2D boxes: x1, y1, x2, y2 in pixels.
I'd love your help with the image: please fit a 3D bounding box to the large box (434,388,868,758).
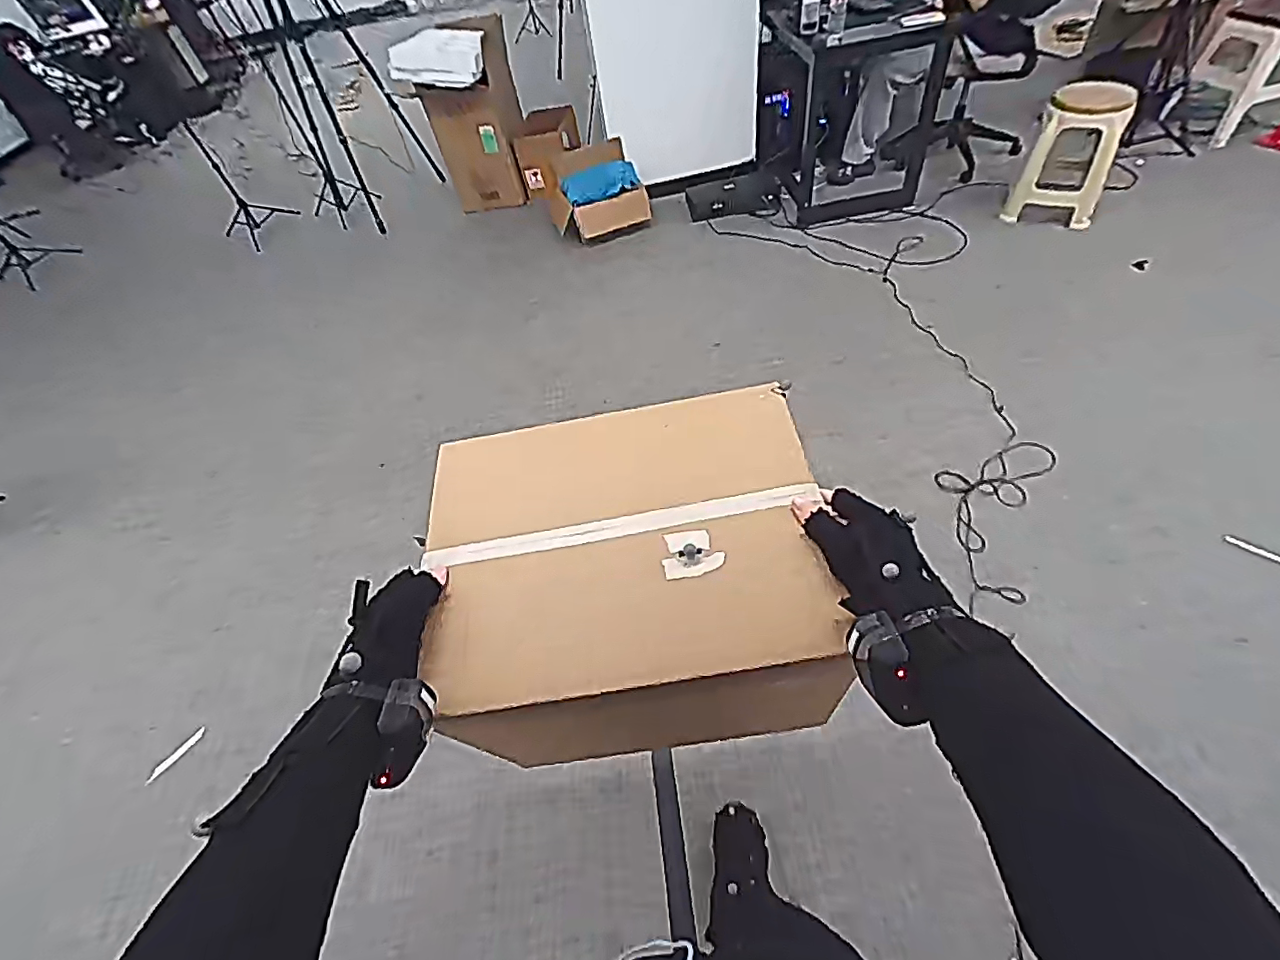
[{"bbox_3d":[0.007,0.131,0.685,0.408,0.320,0.320,-10,55,2],"label":"large box"}]
